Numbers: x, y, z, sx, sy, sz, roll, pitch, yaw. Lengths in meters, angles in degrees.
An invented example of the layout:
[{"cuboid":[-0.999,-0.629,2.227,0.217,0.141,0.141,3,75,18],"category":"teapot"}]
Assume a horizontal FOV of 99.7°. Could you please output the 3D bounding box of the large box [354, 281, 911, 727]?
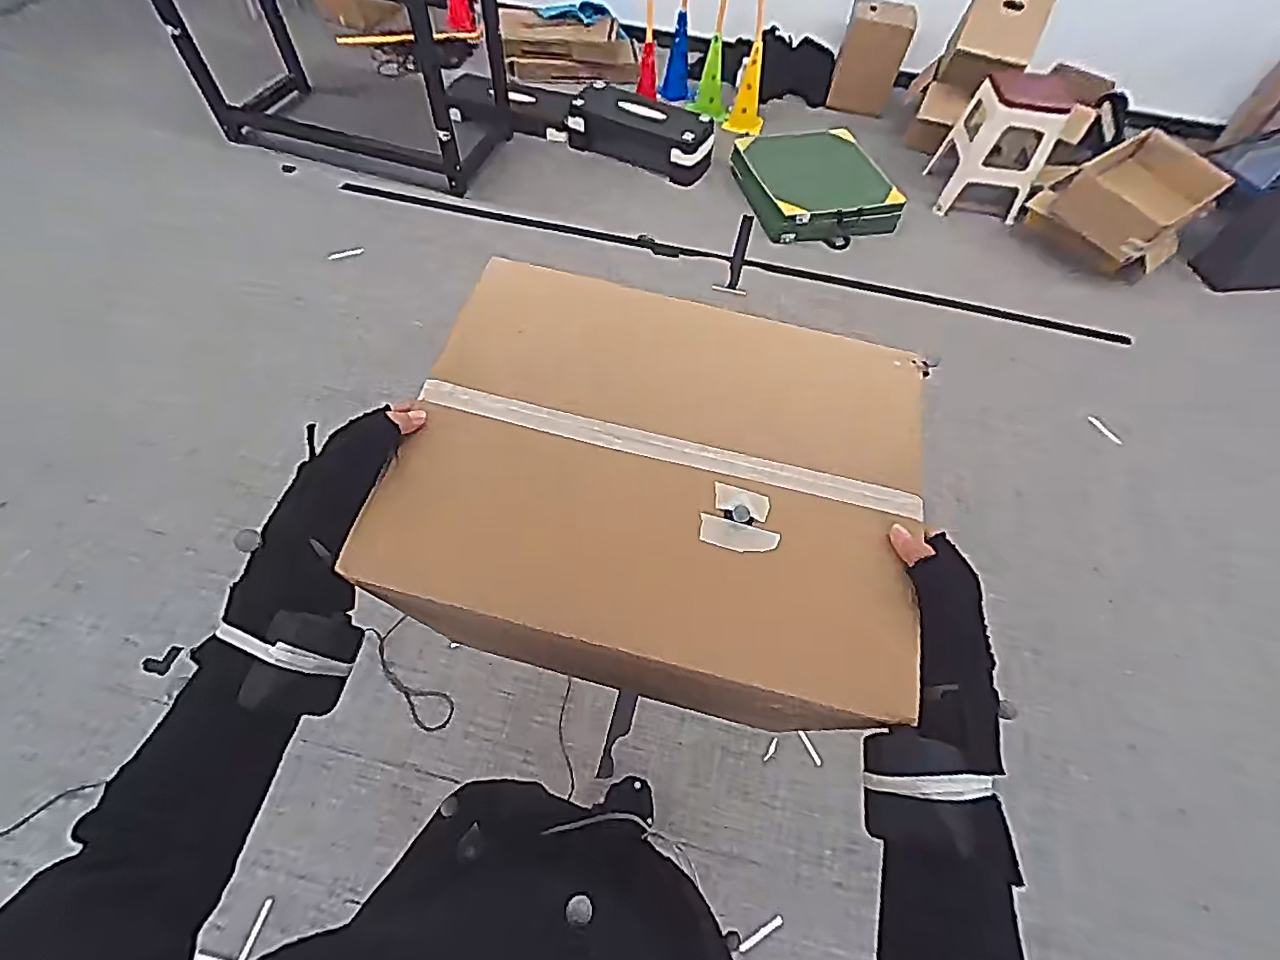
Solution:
[{"cuboid":[0.009,0.050,0.573,0.408,0.320,0.320,14,66,3],"category":"large box"}]
